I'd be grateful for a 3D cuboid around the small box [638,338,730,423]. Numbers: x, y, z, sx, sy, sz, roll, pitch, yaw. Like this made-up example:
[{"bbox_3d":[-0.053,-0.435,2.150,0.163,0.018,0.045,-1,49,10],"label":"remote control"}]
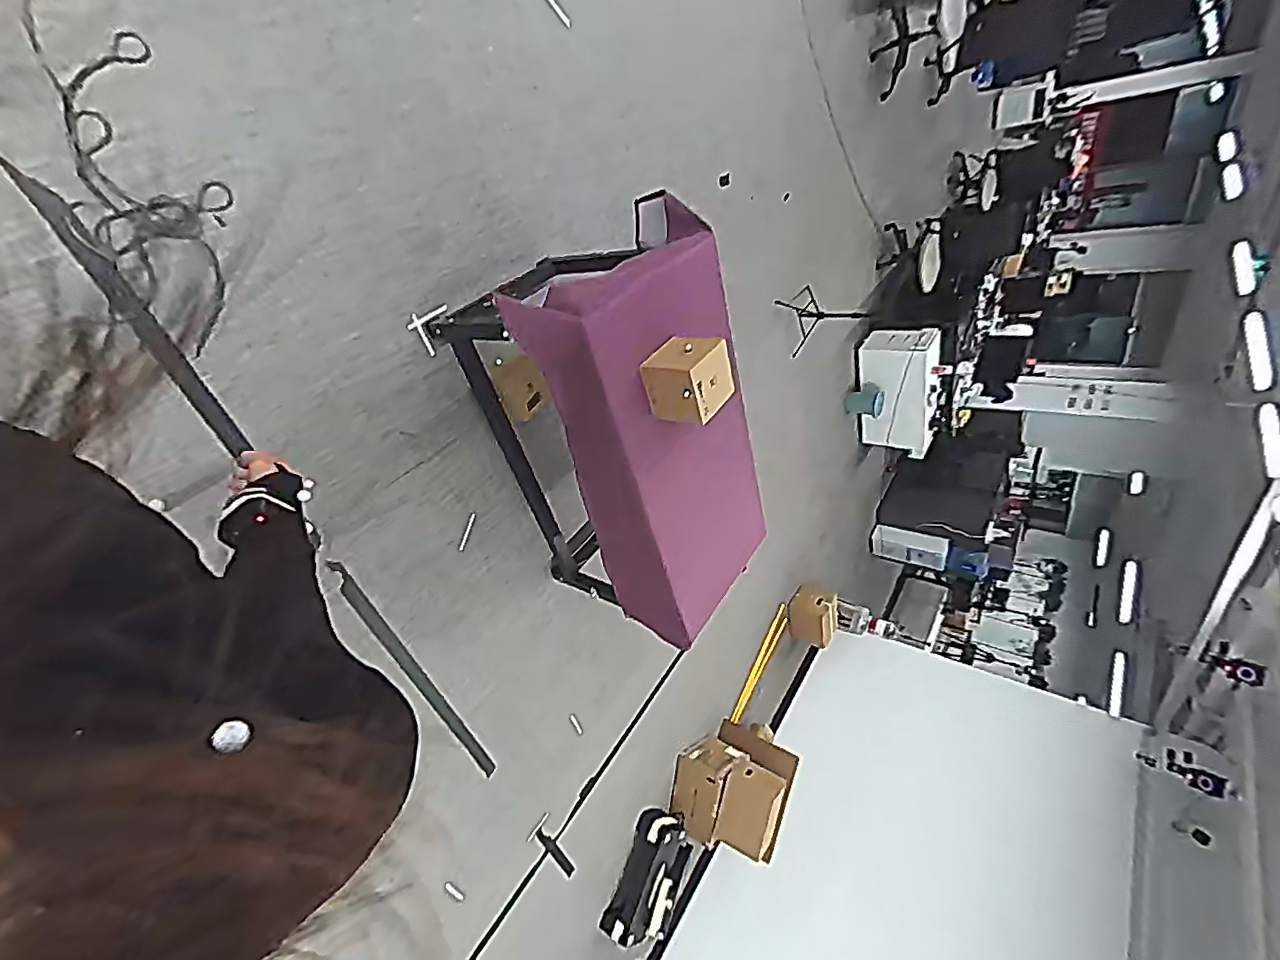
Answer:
[{"bbox_3d":[0.120,-0.276,1.469,0.179,0.176,0.168,-48,134,-34],"label":"small box"}]
